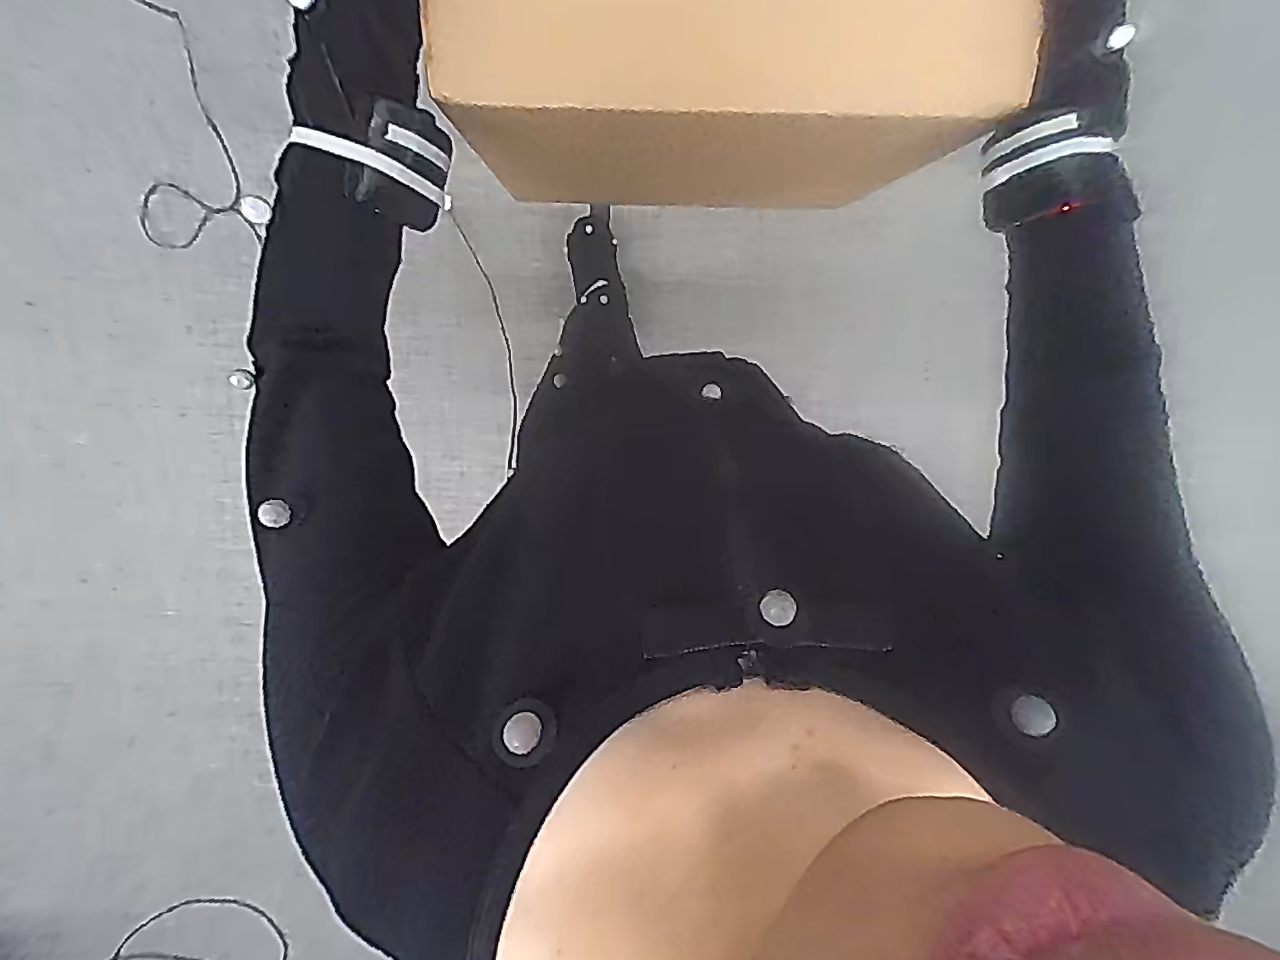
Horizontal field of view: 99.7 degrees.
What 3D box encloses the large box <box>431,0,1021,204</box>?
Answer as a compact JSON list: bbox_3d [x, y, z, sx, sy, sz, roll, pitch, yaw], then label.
[{"bbox_3d":[0.051,-0.448,0.477,0.408,0.320,0.320,-1,106,-3],"label":"large box"}]
